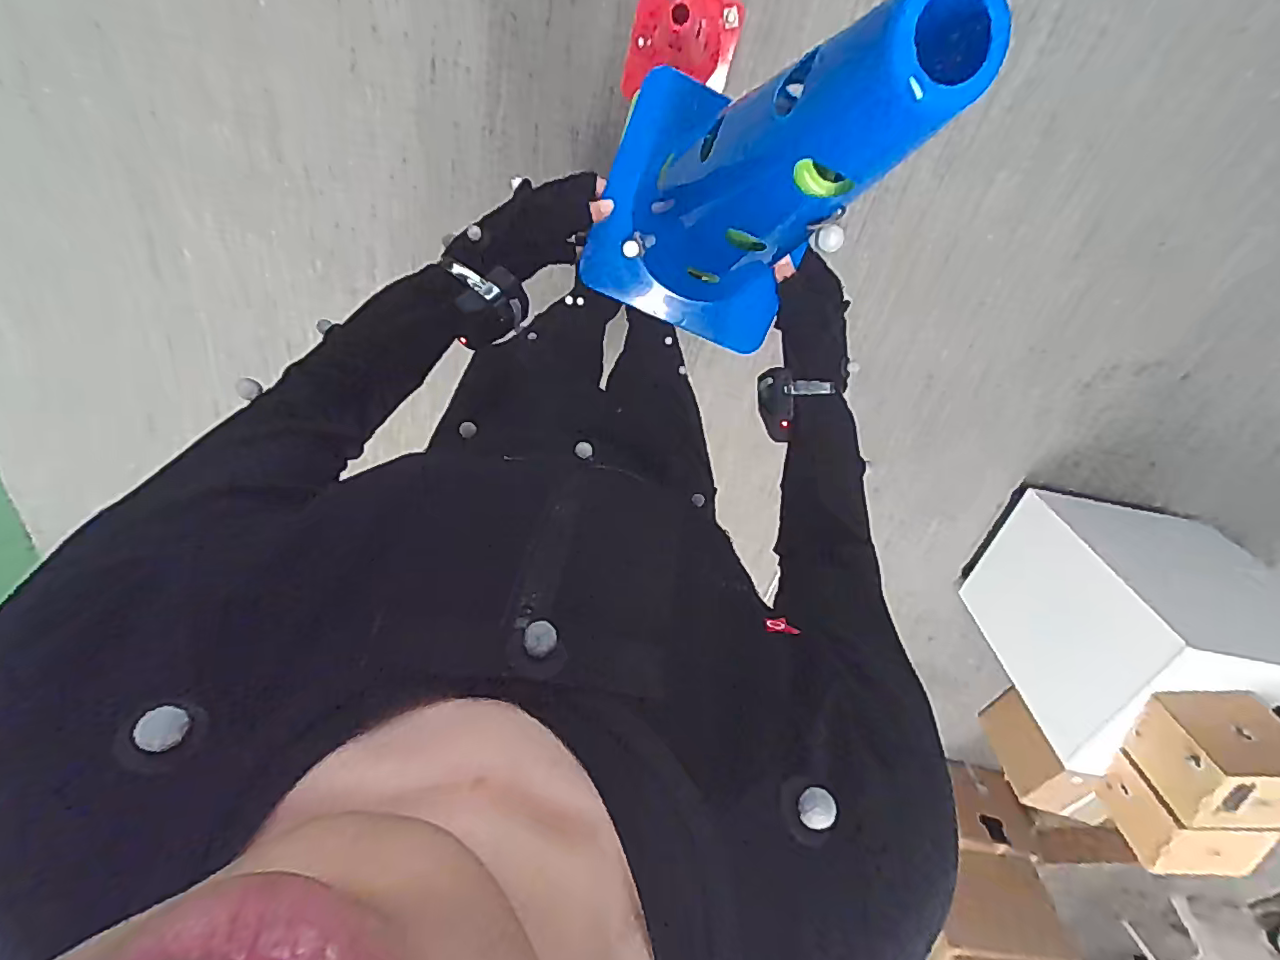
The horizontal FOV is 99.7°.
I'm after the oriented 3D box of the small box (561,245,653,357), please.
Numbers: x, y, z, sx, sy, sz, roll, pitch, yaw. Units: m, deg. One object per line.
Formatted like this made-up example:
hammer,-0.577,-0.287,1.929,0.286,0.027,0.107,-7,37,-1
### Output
small box,-0.082,-0.419,1.261,0.168,0.176,0.179,11,125,-17
